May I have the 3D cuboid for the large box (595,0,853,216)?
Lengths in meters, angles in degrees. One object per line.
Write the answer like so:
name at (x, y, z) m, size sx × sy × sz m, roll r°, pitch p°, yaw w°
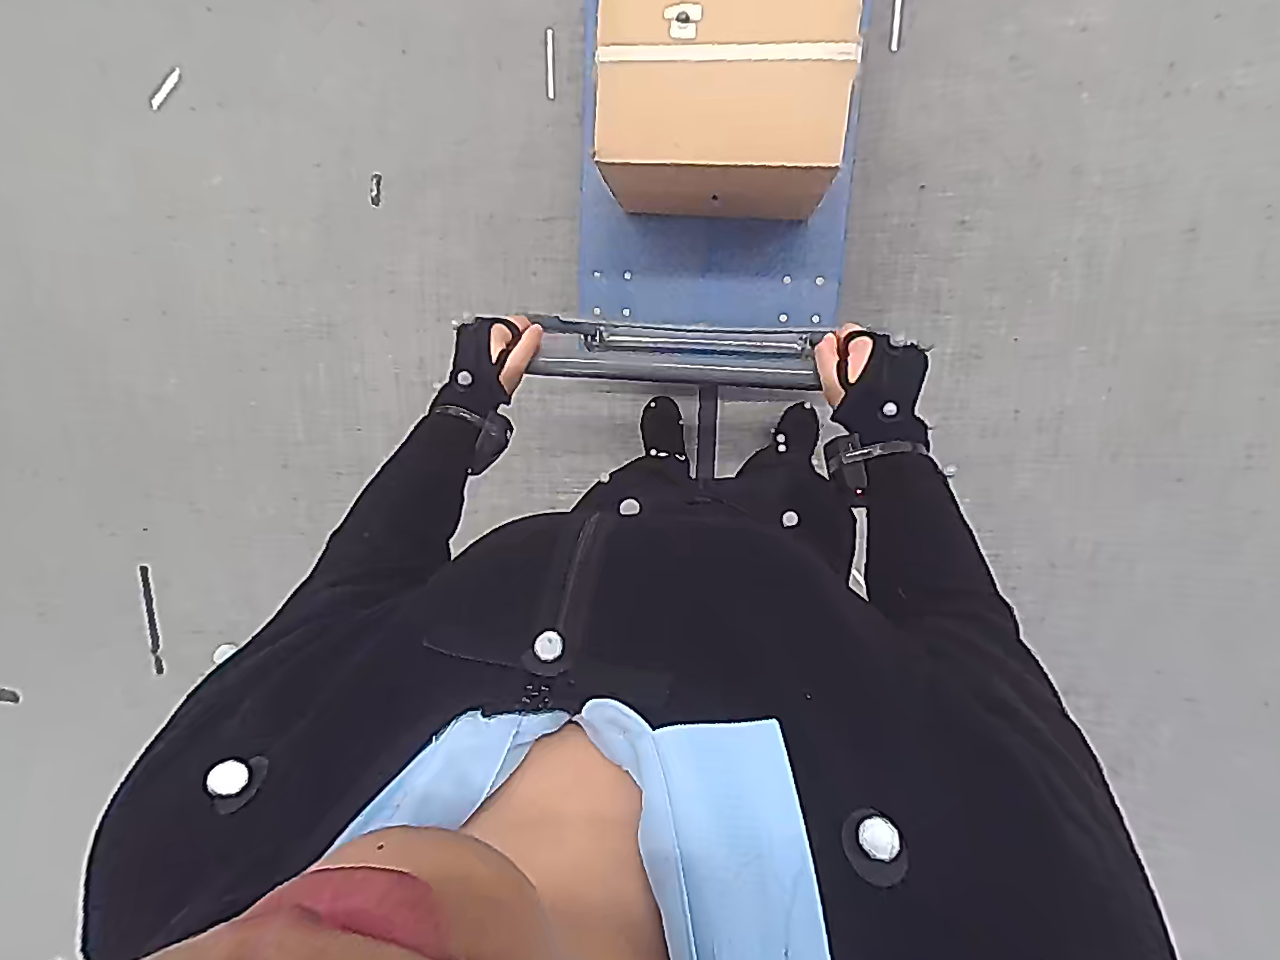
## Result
large box at (0.150, -0.698, 1.010) m, size 0.408 × 0.320 × 0.320 m, roll 5°, pitch 101°, yaw 8°
